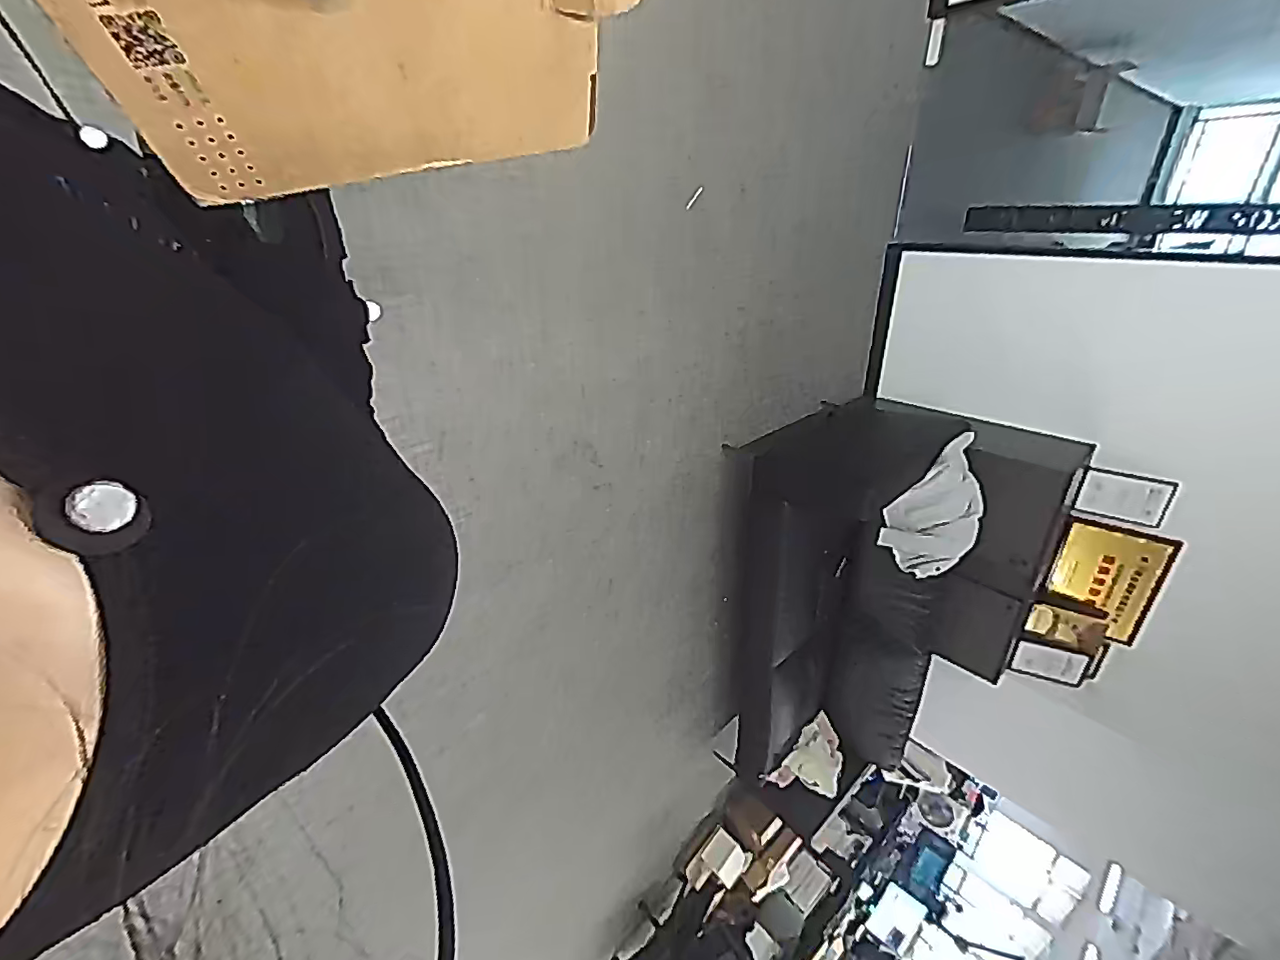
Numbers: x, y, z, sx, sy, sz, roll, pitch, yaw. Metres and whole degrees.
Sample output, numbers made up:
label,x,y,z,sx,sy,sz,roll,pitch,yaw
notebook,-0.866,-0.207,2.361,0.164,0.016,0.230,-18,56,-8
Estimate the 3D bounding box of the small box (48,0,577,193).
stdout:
label,x,y,z,sx,sy,sz,roll,pitch,yaw
small box,-0.128,-0.238,0.193,0.176,0.179,0.168,-18,165,-14
